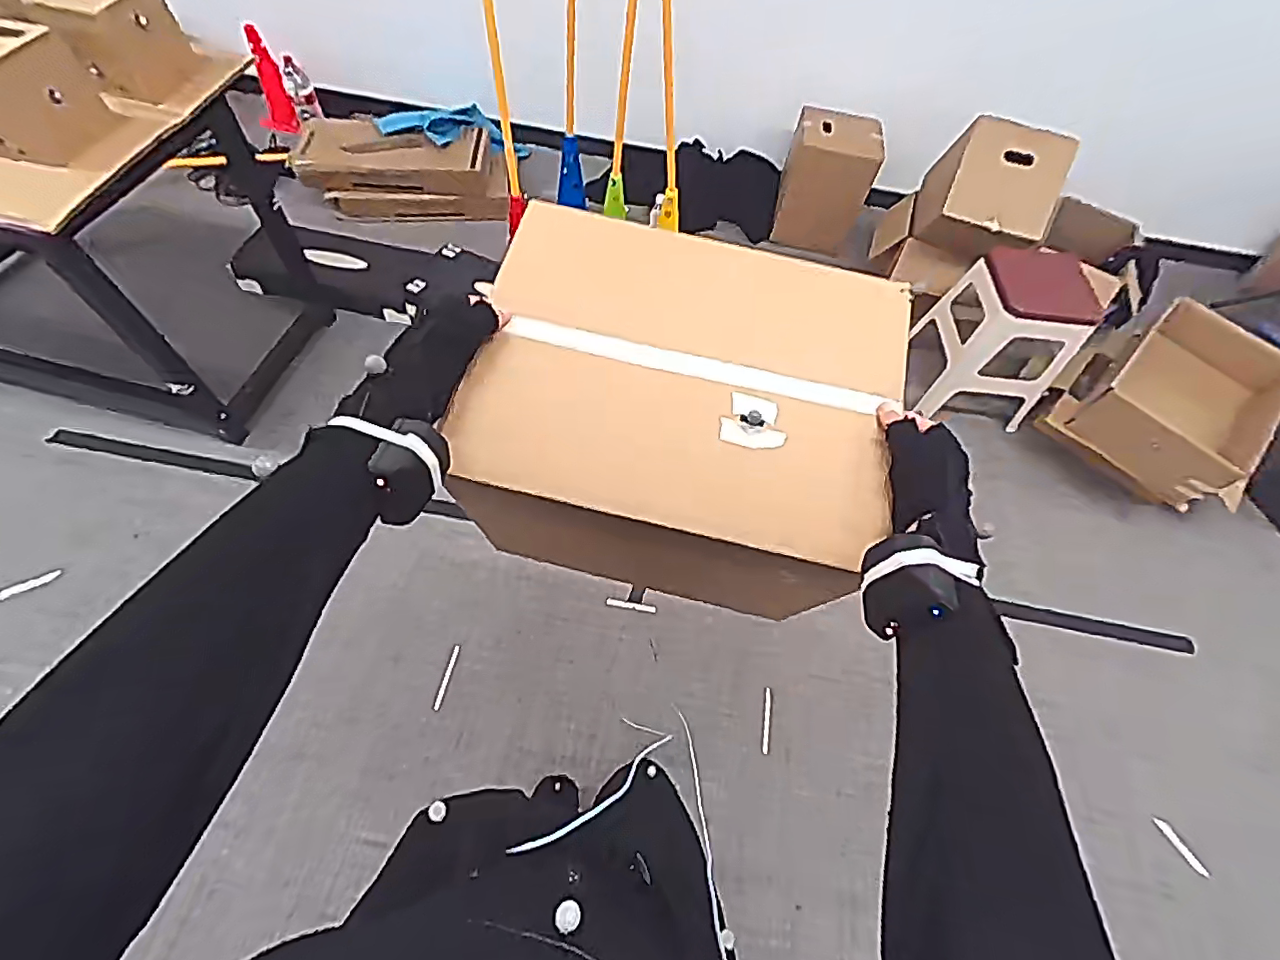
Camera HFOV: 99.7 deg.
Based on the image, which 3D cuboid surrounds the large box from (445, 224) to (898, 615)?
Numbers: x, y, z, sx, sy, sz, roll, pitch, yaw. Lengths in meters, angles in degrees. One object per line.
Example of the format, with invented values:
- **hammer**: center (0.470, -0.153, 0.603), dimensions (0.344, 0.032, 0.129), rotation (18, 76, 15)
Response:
- **large box**: center (0.040, -0.046, 0.666), dimensions (0.408, 0.320, 0.320), rotation (14, 70, 2)
